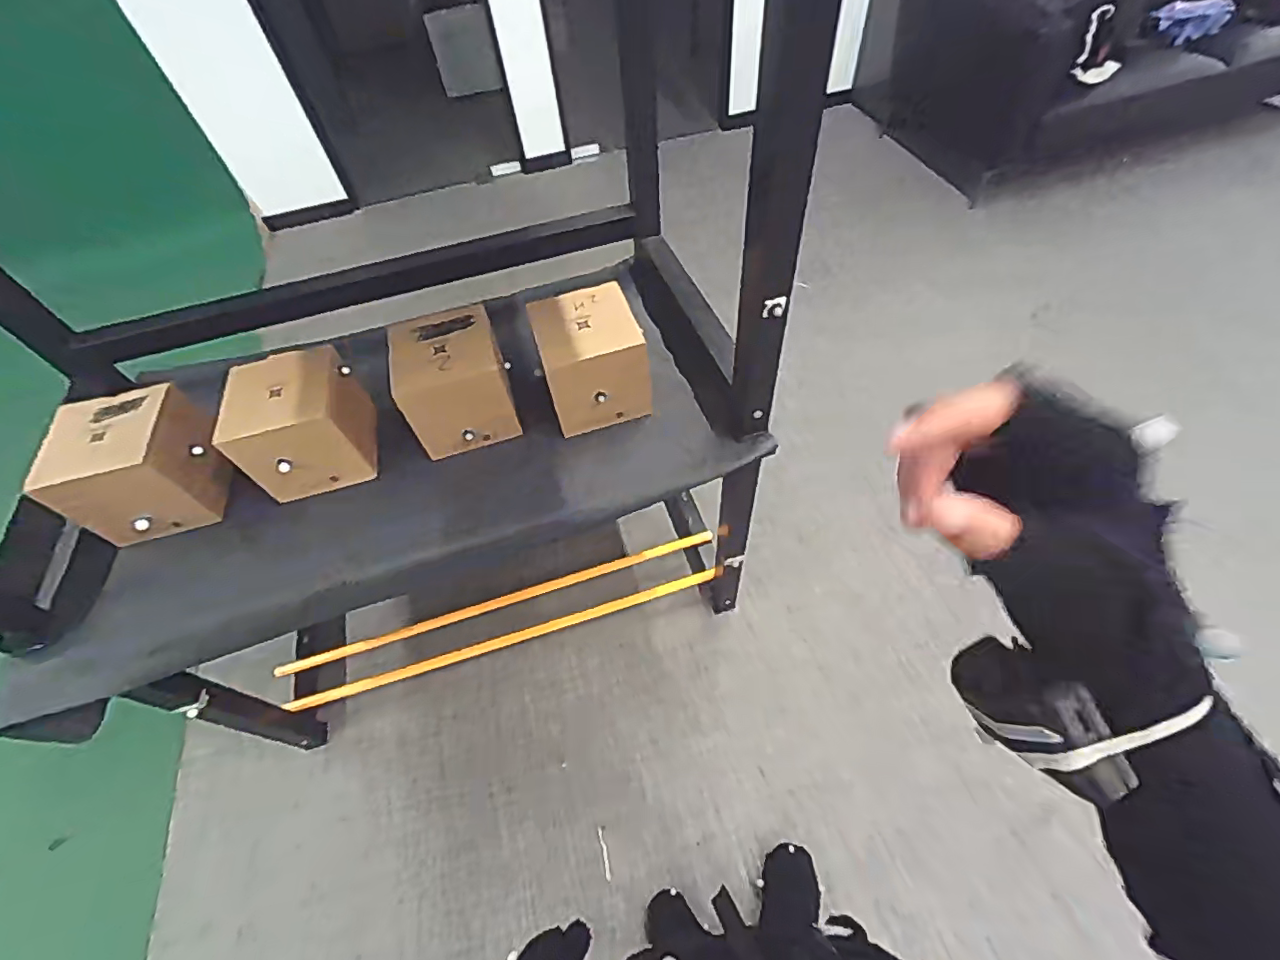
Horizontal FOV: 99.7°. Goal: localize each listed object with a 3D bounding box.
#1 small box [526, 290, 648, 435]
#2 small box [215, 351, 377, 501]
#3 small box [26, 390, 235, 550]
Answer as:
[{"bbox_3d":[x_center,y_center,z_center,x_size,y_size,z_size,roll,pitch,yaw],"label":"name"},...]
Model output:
[{"bbox_3d":[-0.089,-0.198,0.952,0.168,0.176,0.179,-16,54,-7],"label":"small box"},{"bbox_3d":[-0.564,-0.082,0.914,0.168,0.176,0.179,-16,54,-6],"label":"small box"},{"bbox_3d":[-0.805,-0.014,0.883,0.168,0.176,0.179,-15,55,-6],"label":"small box"}]
